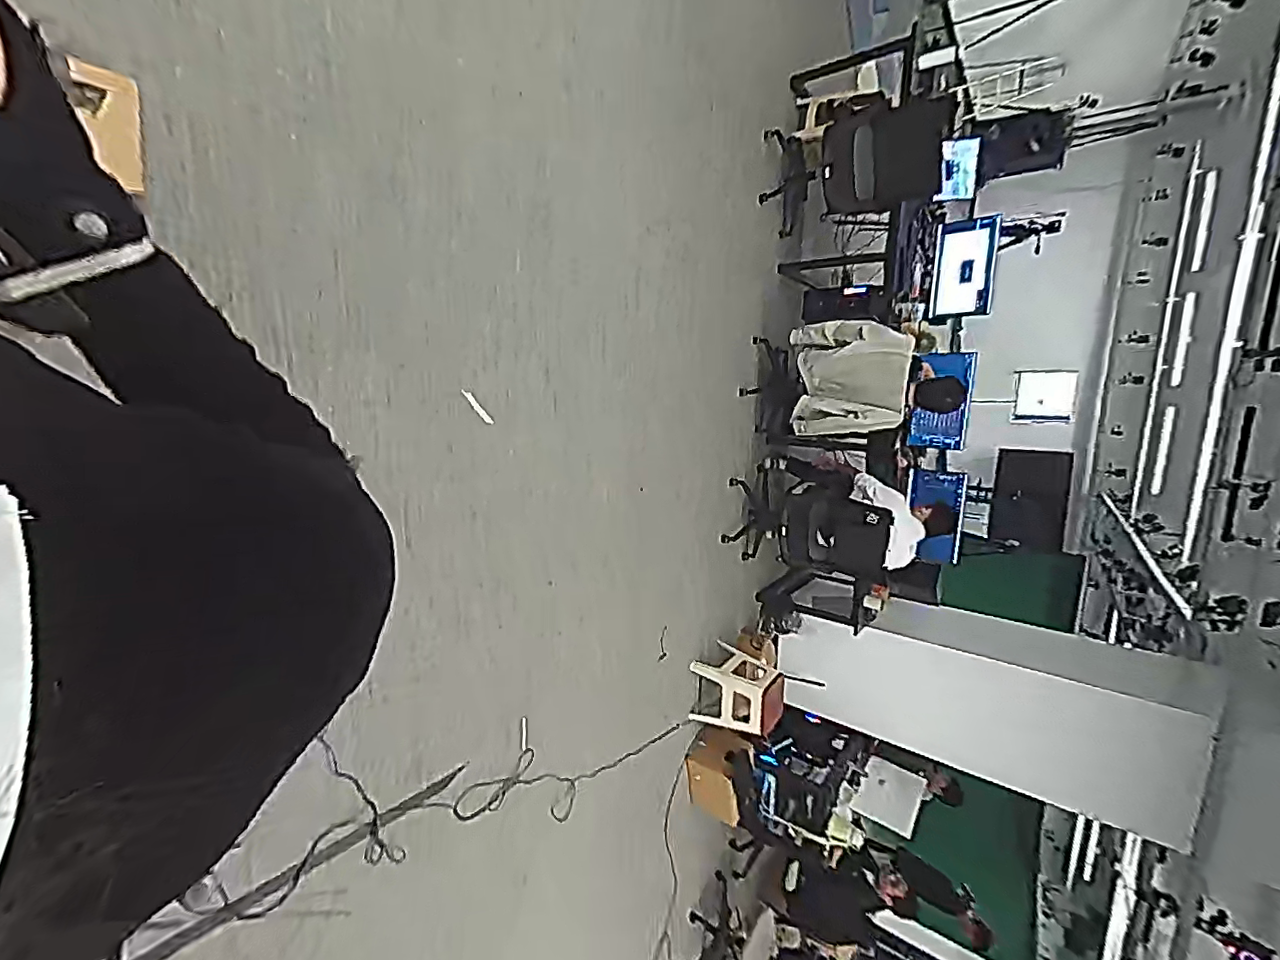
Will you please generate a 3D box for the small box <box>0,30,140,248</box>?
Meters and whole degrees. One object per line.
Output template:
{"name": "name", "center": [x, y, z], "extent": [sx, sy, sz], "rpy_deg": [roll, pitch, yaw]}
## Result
{"name": "small box", "center": [-0.710, -0.382, 0.618], "extent": [0.168, 0.176, 0.179], "rpy_deg": [-7, 105, -56]}
